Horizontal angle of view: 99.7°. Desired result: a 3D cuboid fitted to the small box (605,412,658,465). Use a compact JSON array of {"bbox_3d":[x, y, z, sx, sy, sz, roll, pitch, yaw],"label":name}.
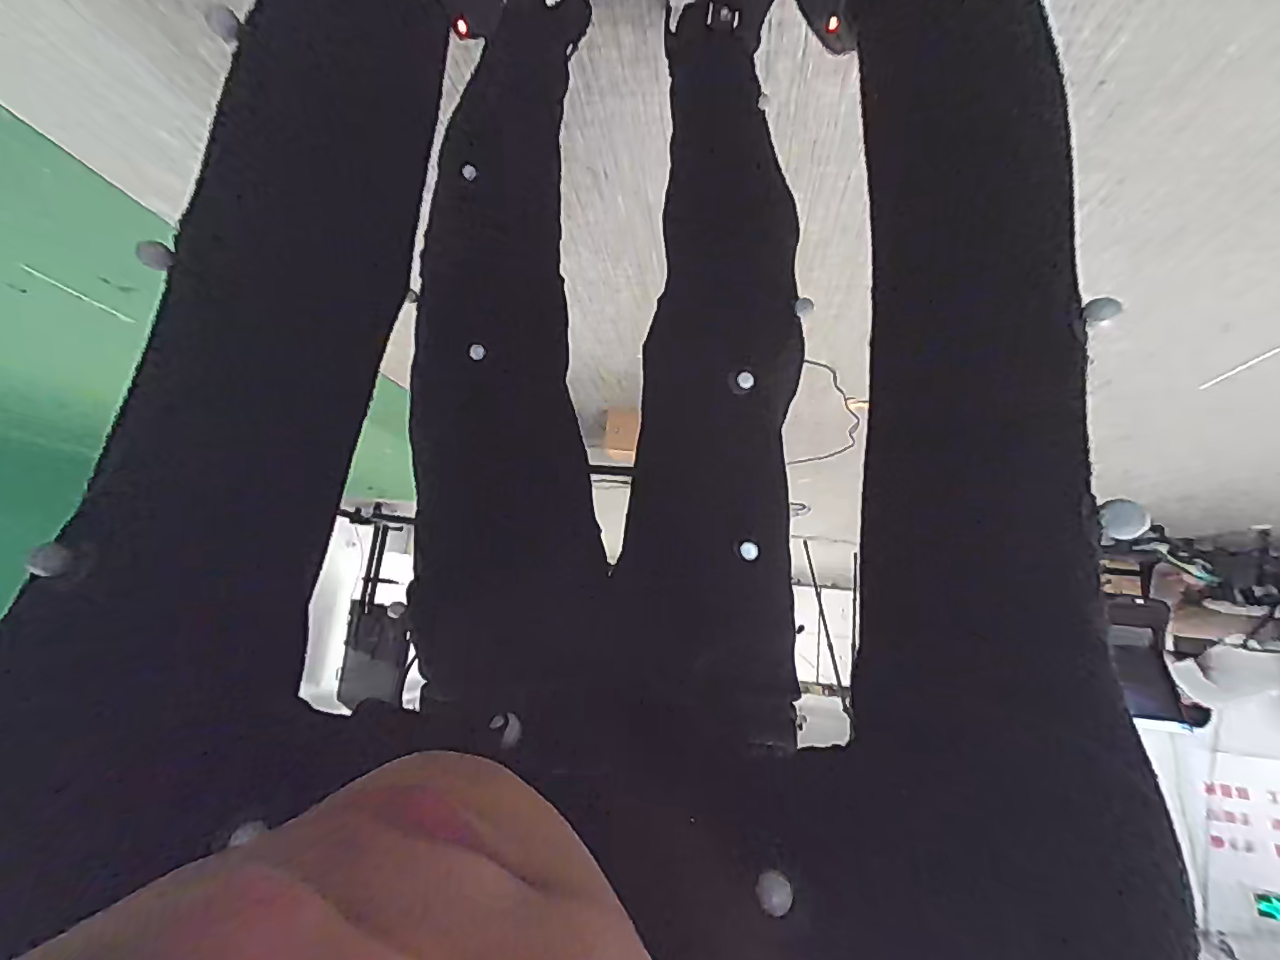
[{"bbox_3d":[-0.028,-0.165,2.131,0.179,0.176,0.168,3,167,10],"label":"small box"}]
